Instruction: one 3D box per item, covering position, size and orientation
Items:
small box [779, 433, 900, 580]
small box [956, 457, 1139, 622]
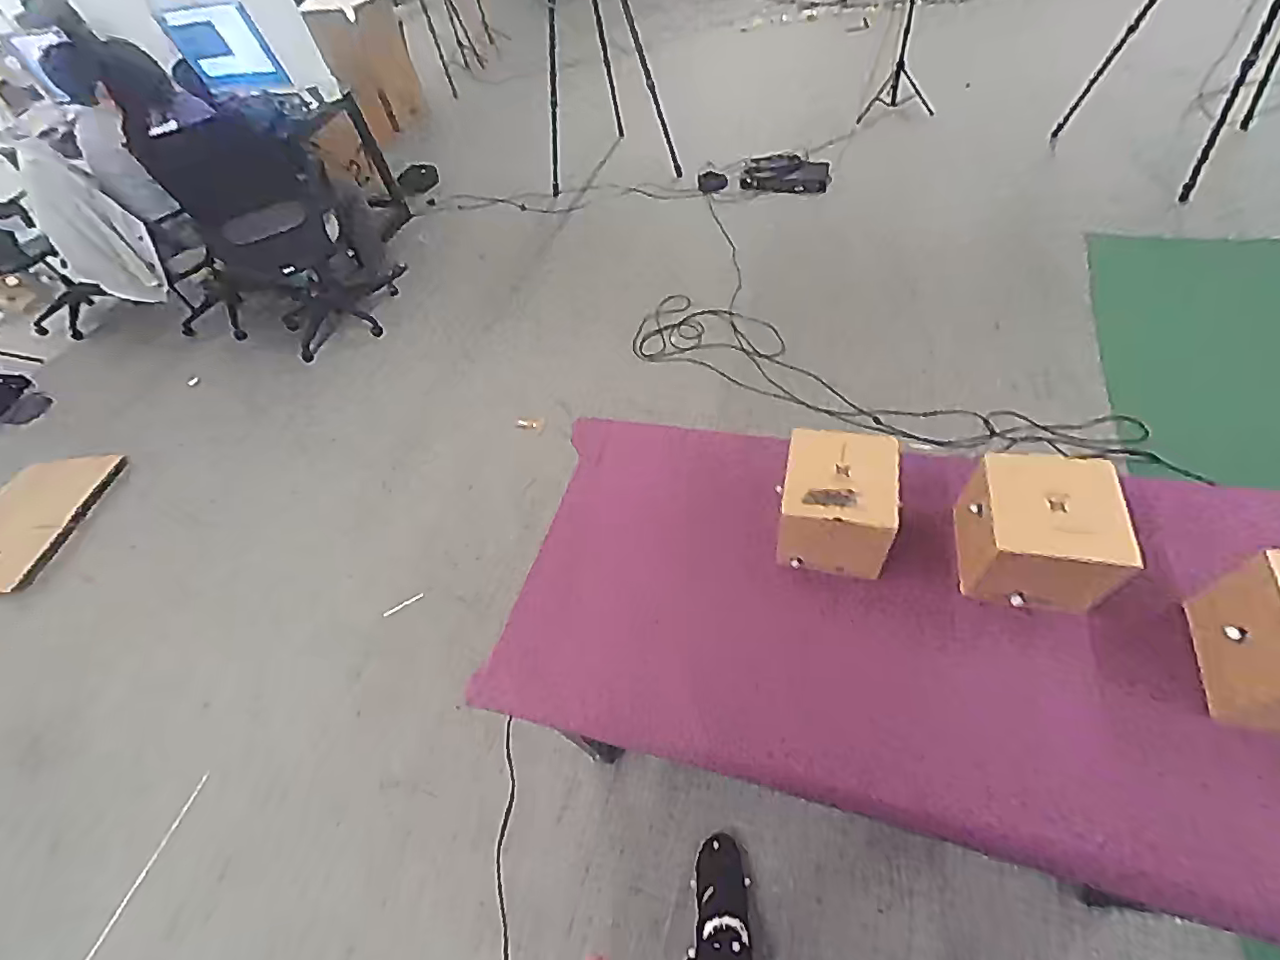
[{"bbox_3d":[0.327,0.047,0.903,0.168,0.176,0.179,8,55,16],"label":"small box"},{"bbox_3d":[0.596,0.090,0.822,0.168,0.176,0.179,7,56,17],"label":"small box"}]
